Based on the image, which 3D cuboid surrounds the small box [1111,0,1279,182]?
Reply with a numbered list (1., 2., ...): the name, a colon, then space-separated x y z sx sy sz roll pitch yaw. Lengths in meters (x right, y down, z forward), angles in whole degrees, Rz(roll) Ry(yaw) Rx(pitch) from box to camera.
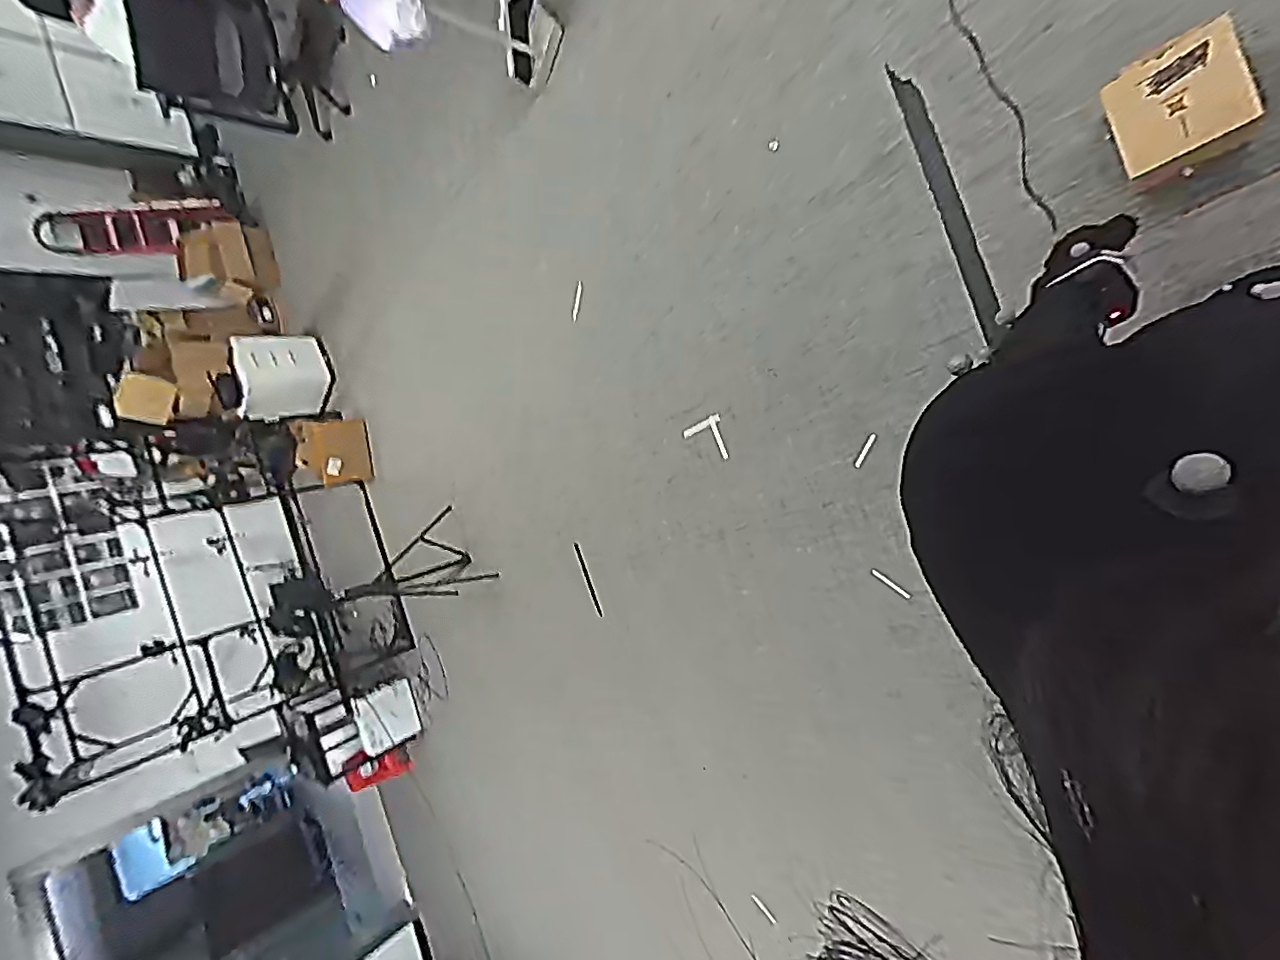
1. small box: 0.956 -0.660 0.944 0.168 0.176 0.179 -19 88 46
